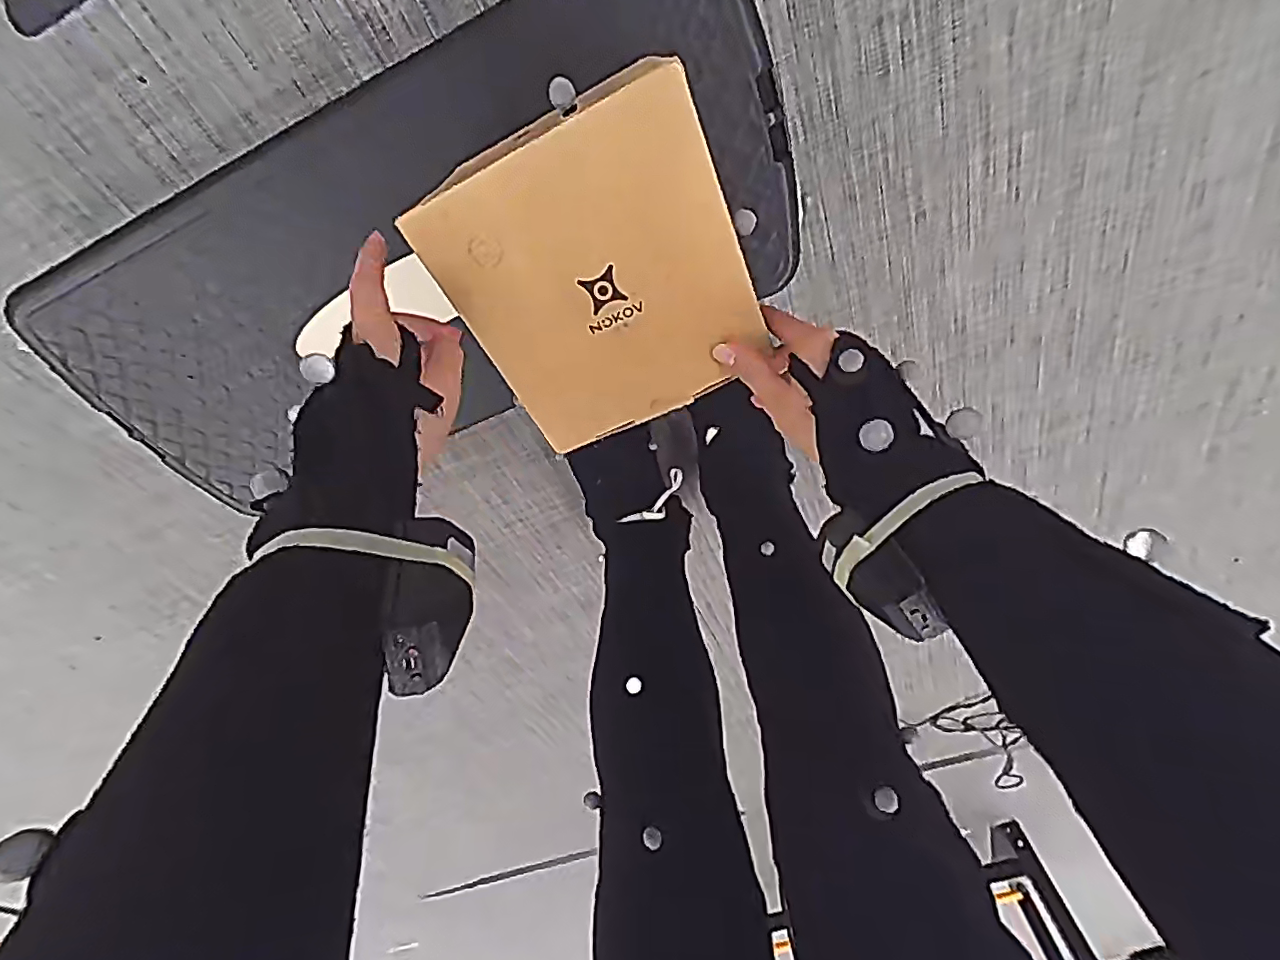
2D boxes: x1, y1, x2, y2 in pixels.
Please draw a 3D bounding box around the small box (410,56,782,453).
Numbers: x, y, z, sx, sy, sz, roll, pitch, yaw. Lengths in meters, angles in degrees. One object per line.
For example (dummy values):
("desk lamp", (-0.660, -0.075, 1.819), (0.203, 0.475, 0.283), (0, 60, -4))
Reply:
("small box", (-0.023, -0.156, 0.380), (0.168, 0.176, 0.179), (-23, 128, 11))
